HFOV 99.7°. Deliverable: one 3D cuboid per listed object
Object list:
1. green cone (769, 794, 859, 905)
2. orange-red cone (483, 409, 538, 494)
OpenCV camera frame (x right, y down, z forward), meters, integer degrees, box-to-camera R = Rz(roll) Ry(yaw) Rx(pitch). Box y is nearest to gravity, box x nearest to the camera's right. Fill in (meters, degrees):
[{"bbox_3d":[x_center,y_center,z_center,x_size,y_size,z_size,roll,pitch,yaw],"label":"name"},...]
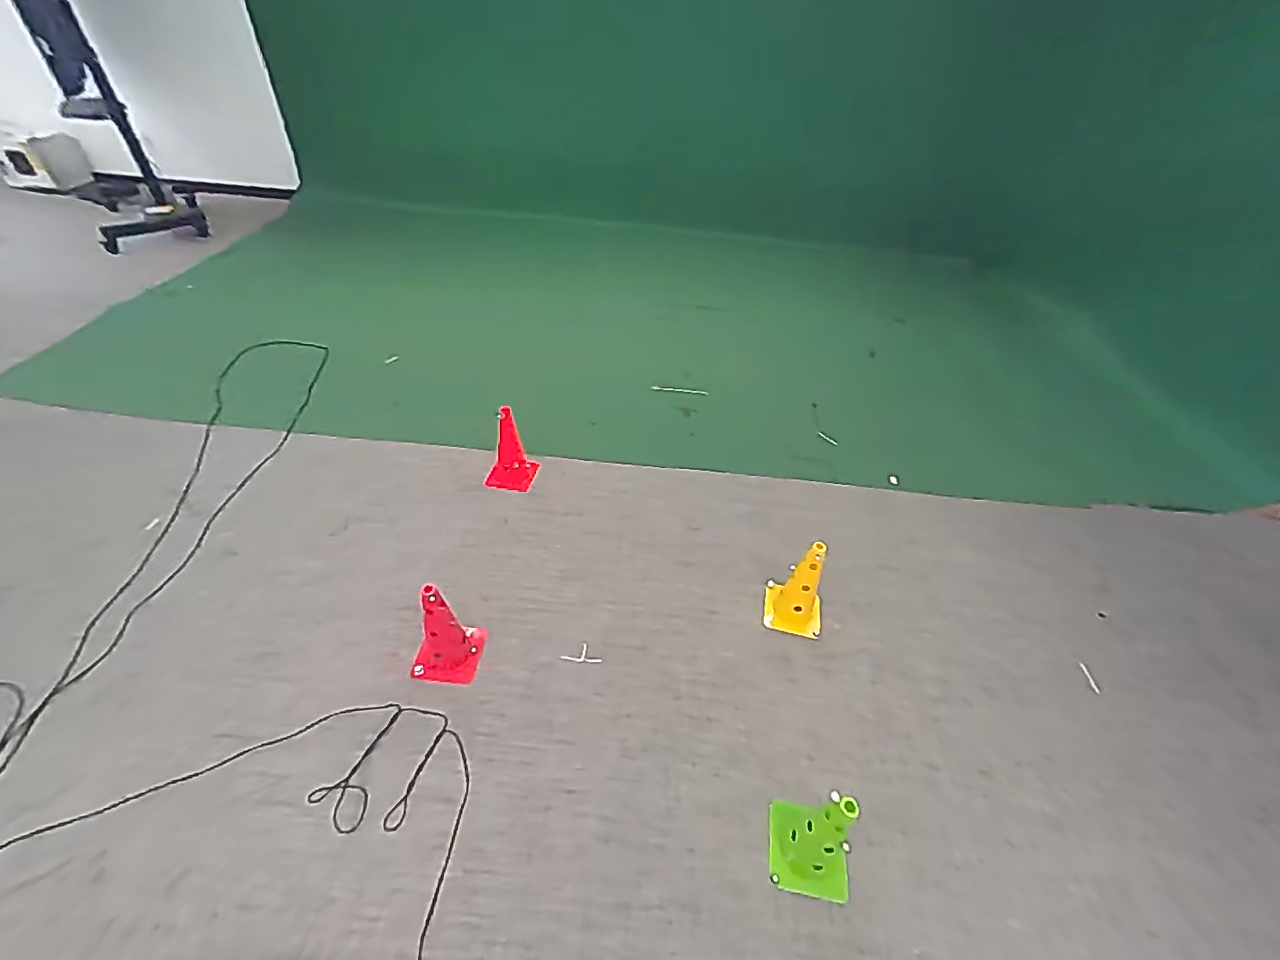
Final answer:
[{"bbox_3d":[0.455,0.854,1.309,0.200,0.368,0.202,10,41,4],"label":"green cone"},{"bbox_3d":[-0.563,-0.141,2.280,0.199,0.360,0.198,10,42,7],"label":"orange-red cone"}]
